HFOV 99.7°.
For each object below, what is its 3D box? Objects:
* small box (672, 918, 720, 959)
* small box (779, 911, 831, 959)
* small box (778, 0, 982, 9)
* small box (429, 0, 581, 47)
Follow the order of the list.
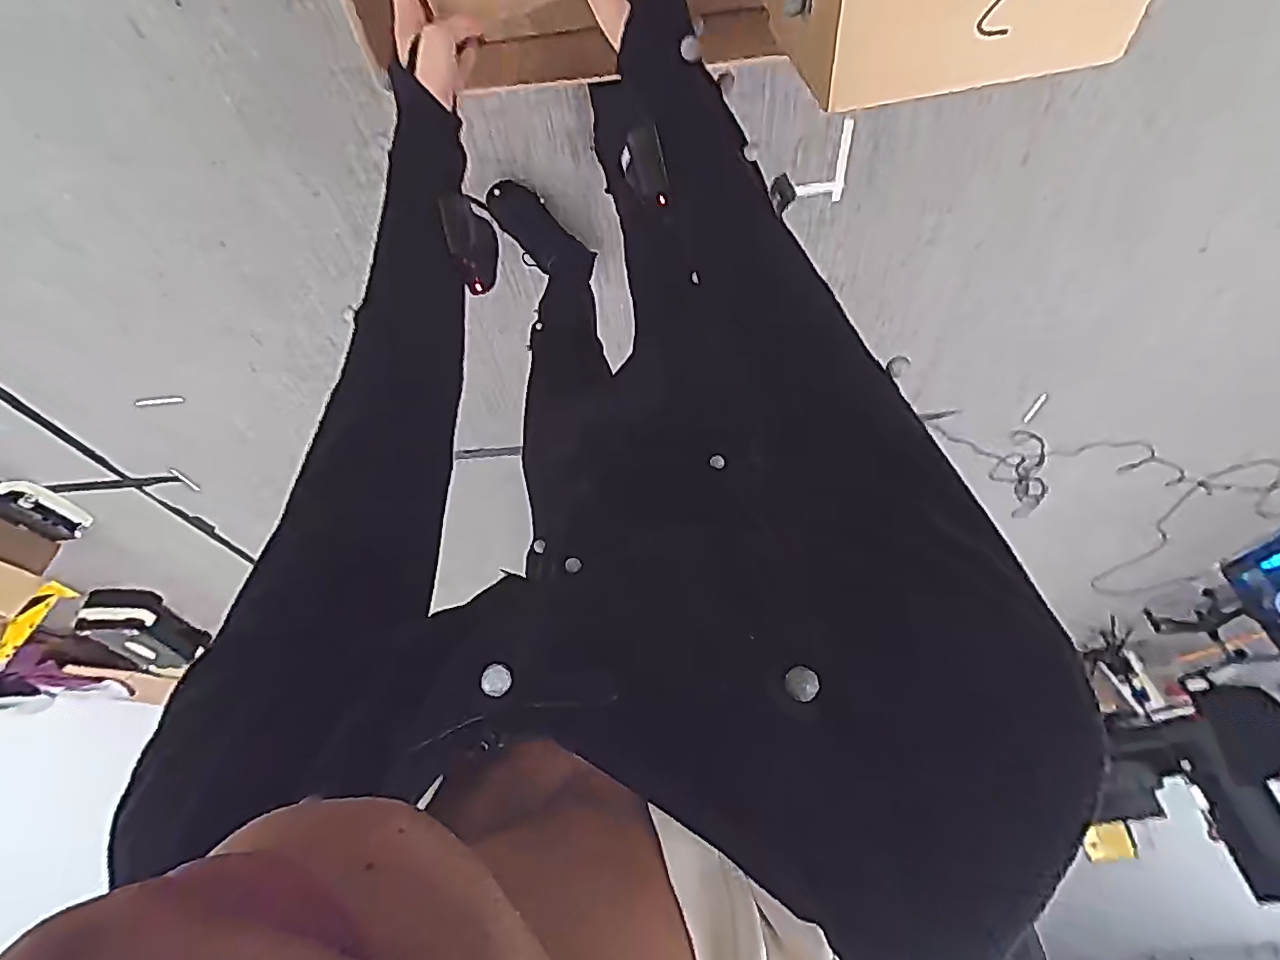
[{"bbox_3d":[0.221,1.841,2.129,0.168,0.176,0.179,-2,144,-4],"label":"small box"},{"bbox_3d":[0.641,1.791,2.104,0.168,0.176,0.179,-9,144,6],"label":"small box"},{"bbox_3d":[0.175,-0.475,0.389,0.168,0.176,0.179,-3,143,-1],"label":"small box"},{"bbox_3d":[-0.117,-0.516,0.450,0.179,0.176,0.168,-13,147,9],"label":"small box"}]
